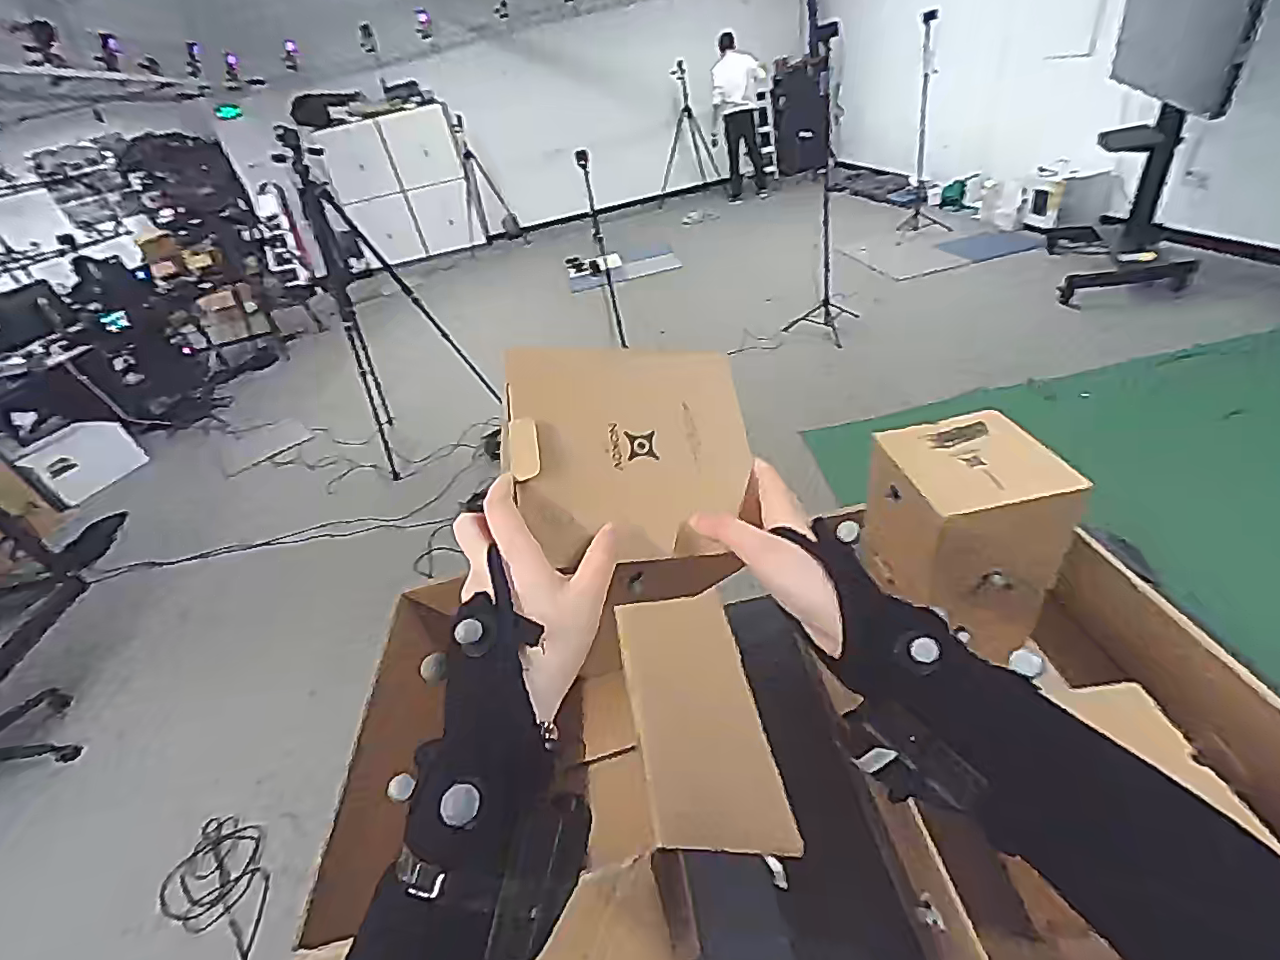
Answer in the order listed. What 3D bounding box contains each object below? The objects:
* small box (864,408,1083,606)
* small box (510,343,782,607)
[{"bbox_3d":[0.407,0.034,0.702,0.168,0.176,0.179,-12,38,2],"label":"small box"},{"bbox_3d":[-0.014,0.005,0.449,0.179,0.176,0.168,-3,70,-17],"label":"small box"}]
